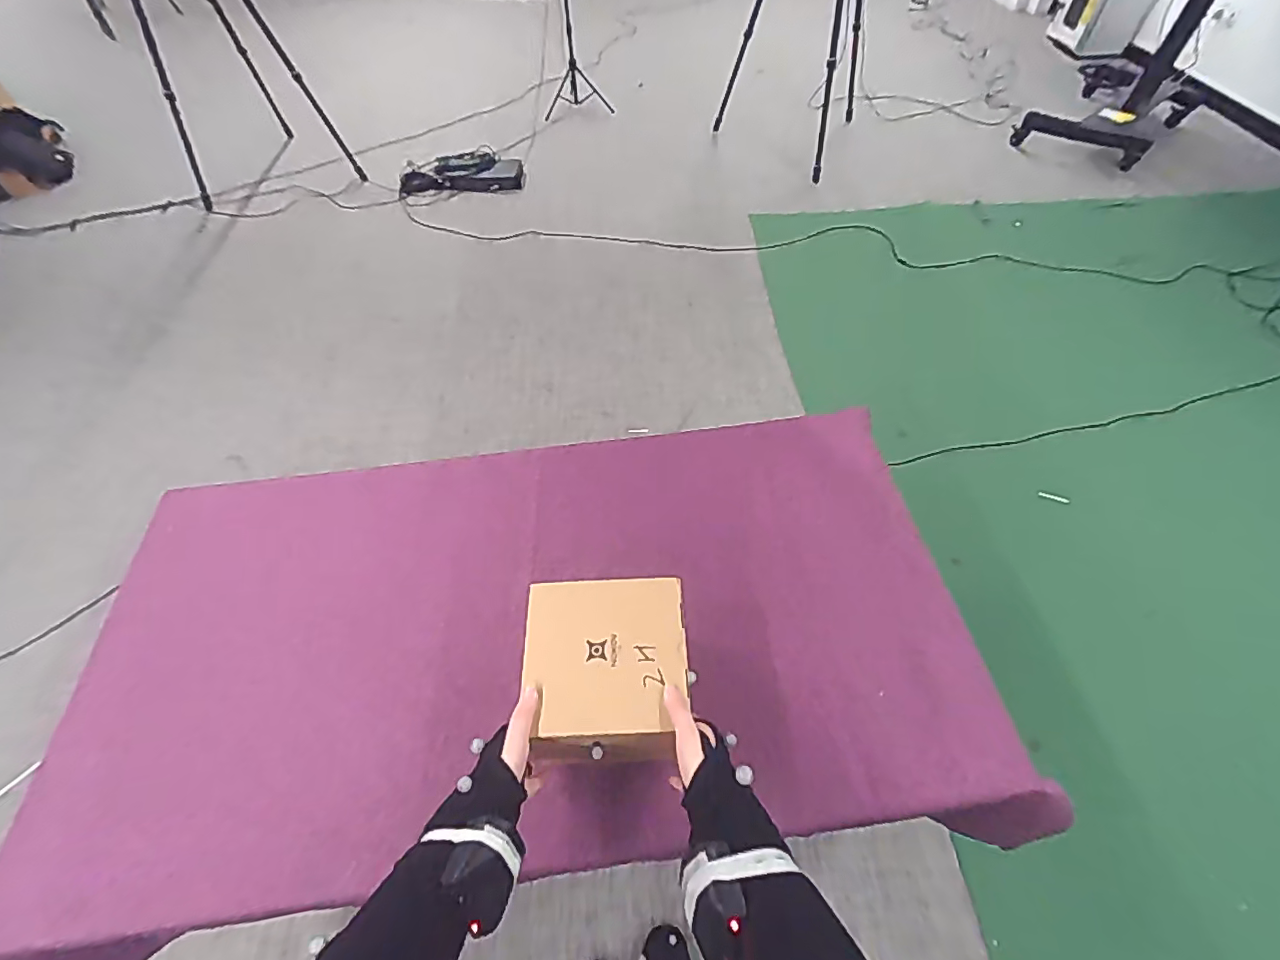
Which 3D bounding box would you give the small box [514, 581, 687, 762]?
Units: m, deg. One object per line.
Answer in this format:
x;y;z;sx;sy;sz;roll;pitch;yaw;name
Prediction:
-0.036;0.233;0.645;0.179;0.176;0.168;-2;55;1;small box
